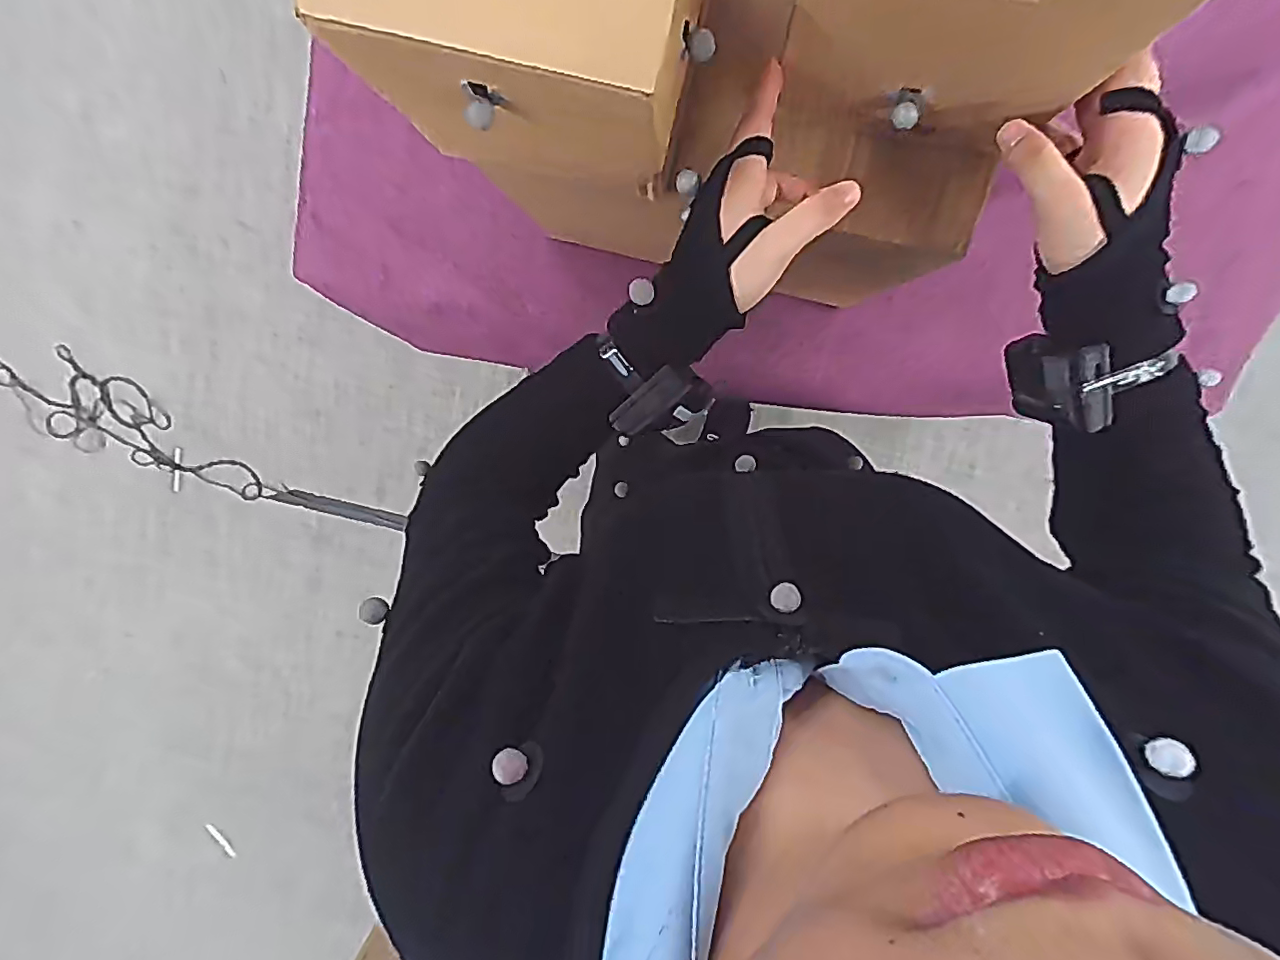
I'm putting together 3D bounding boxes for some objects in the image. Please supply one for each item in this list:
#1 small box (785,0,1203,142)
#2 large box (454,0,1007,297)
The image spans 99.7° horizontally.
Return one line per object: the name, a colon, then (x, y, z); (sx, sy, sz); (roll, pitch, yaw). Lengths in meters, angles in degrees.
small box: (0.181, -0.310, 0.271); (0.168, 0.176, 0.179); (13, 102, 5)
large box: (0.096, -0.384, 0.517); (0.408, 0.320, 0.320); (13, 101, 4)
